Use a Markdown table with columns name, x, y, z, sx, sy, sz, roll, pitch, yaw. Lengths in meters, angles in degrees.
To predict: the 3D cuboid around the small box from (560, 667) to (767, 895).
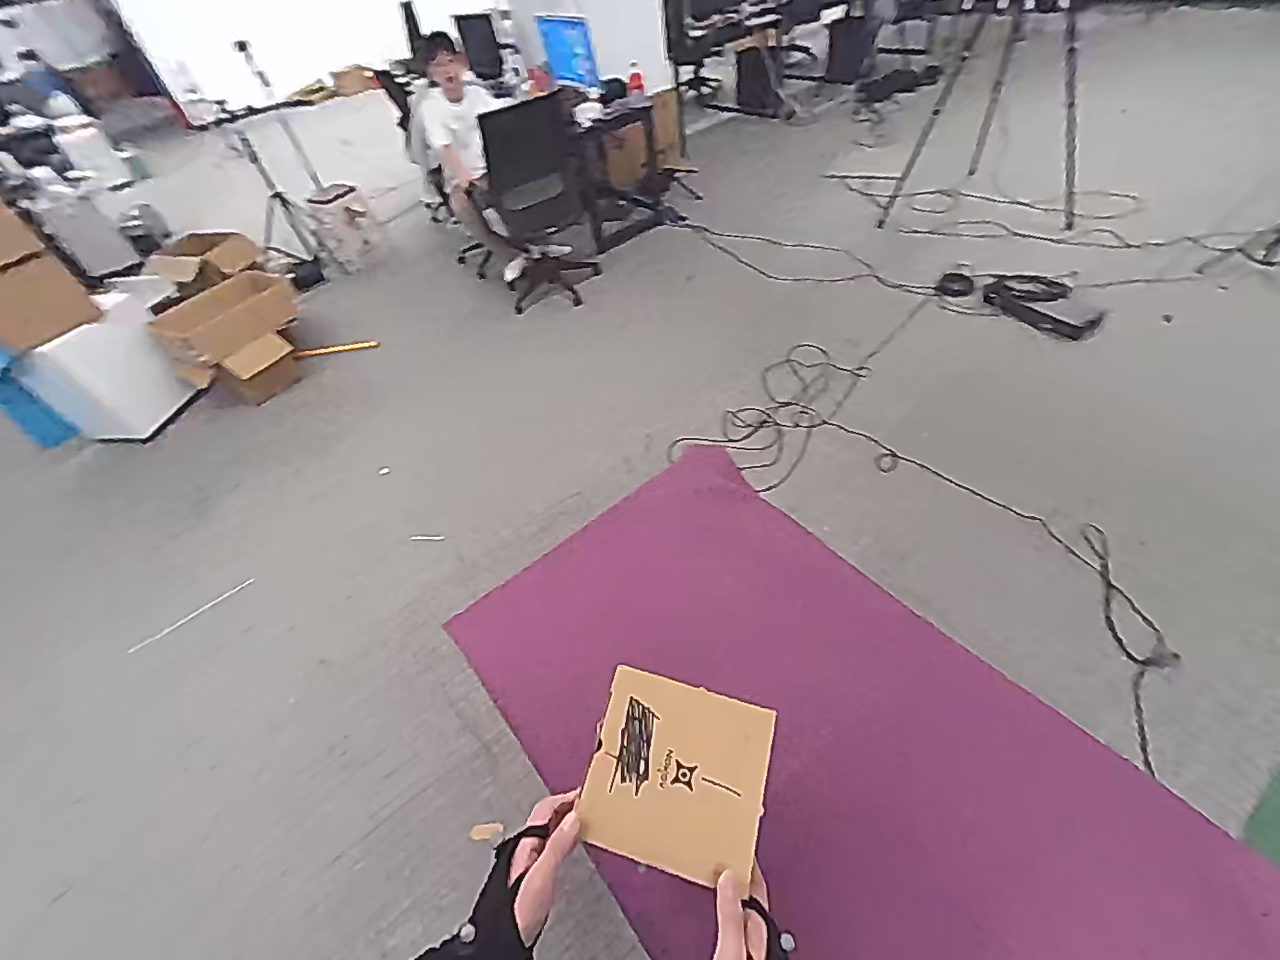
| name | x | y | z | sx | sy | sz | roll | pitch | yaw |
| --- | --- | --- | --- | --- | --- | --- | --- | --- | --- |
| small box | 0.031 | 0.332 | 0.607 | 0.179 | 0.176 | 0.168 | 13 | 60 | 10 |
